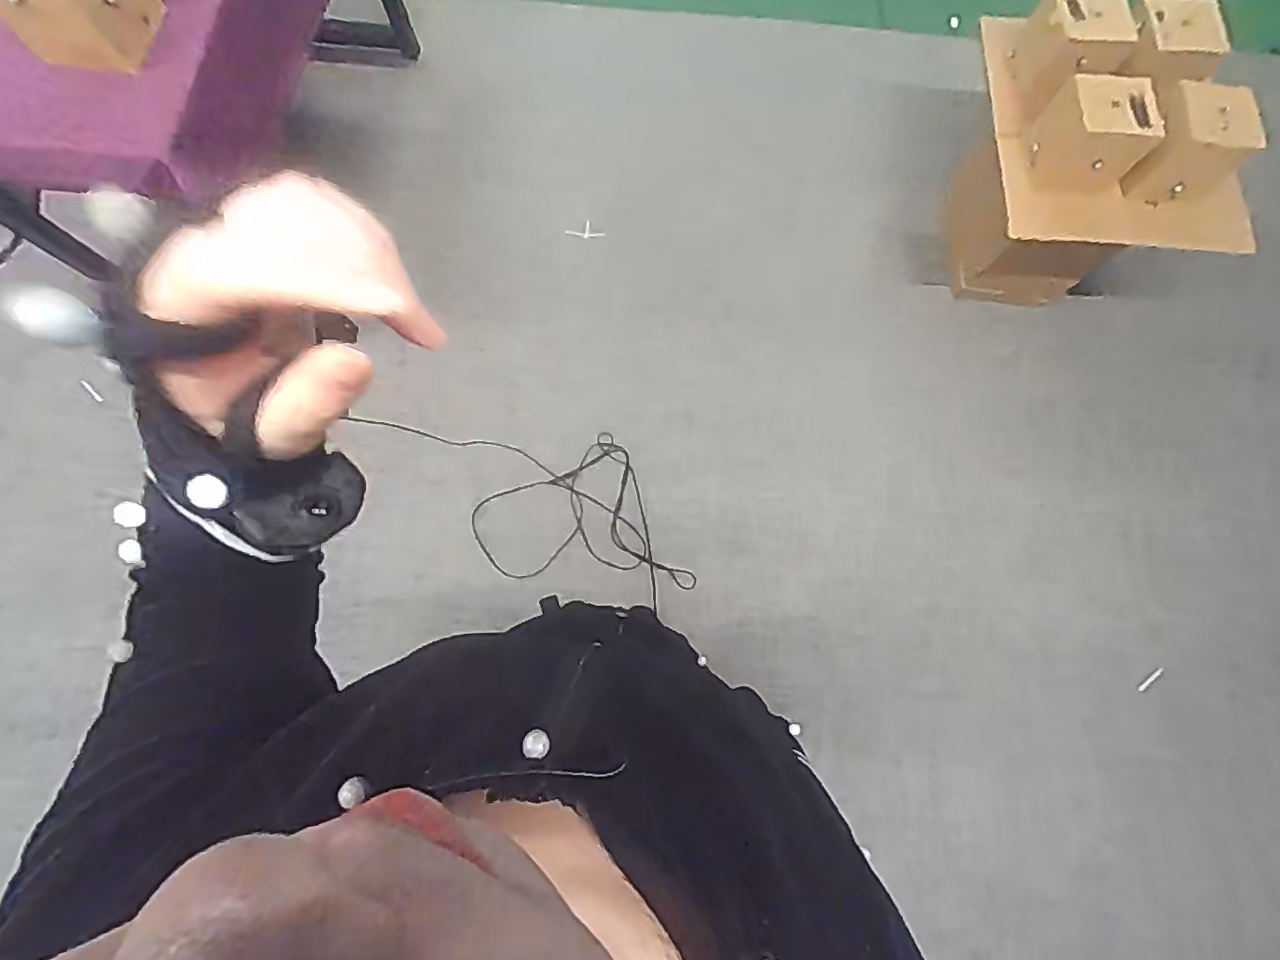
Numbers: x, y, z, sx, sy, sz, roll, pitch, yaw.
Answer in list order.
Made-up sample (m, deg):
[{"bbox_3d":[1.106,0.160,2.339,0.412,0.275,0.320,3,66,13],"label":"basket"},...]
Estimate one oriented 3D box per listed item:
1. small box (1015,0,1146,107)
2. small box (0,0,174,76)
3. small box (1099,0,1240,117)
[{"bbox_3d":[1.051,-1.044,1.312,0.179,0.176,0.168,0,76,-2],"label":"small box"},{"bbox_3d":[-0.988,-0.858,0.953,0.179,0.176,0.168,8,76,2],"label":"small box"},{"bbox_3d":[1.266,-1.020,1.312,0.179,0.176,0.168,3,75,-2],"label":"small box"}]
